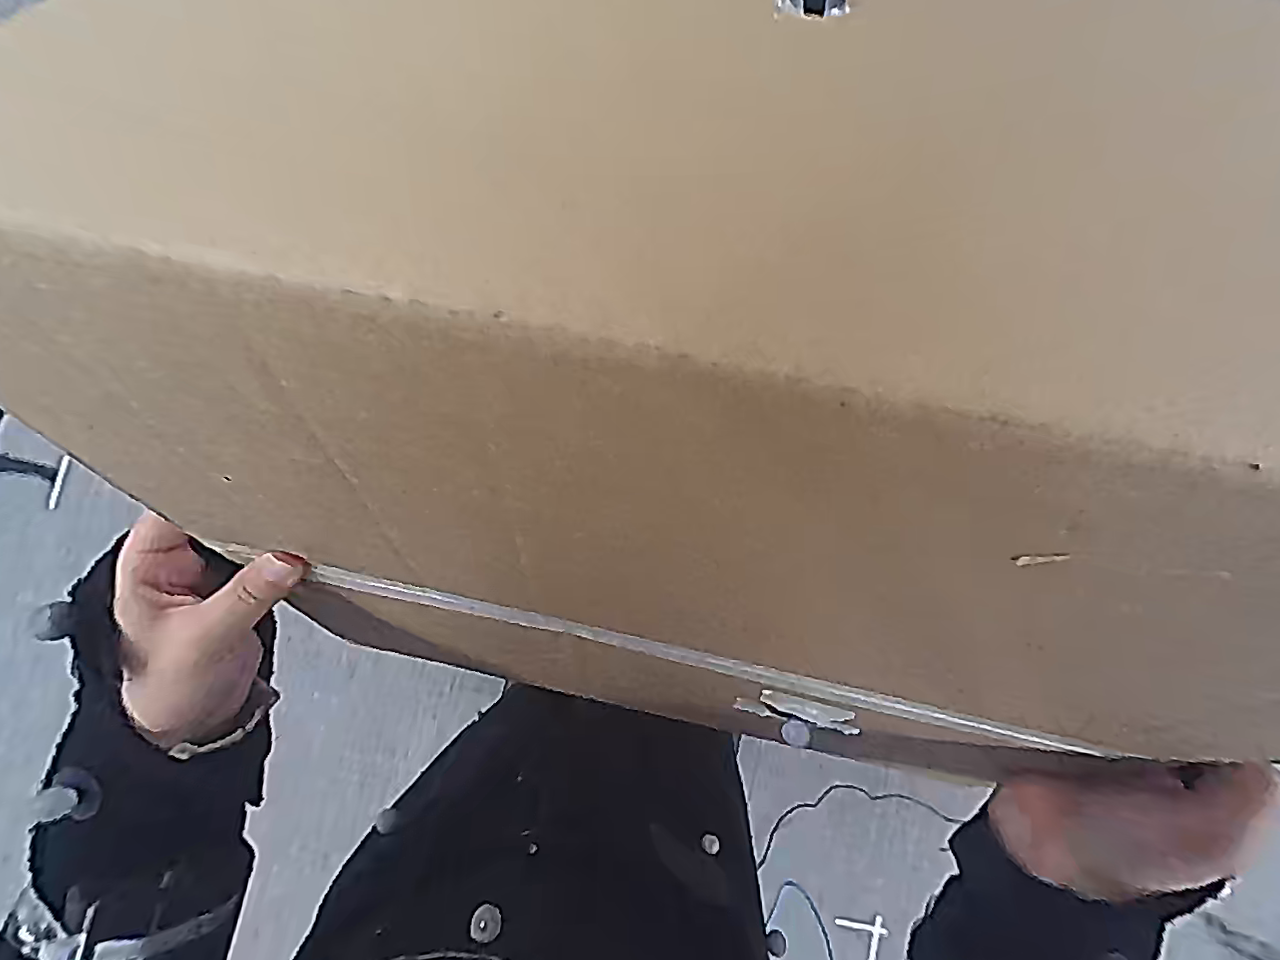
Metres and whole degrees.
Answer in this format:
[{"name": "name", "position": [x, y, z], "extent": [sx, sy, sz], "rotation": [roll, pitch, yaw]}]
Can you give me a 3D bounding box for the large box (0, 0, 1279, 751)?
[{"name": "large box", "position": [0.062, -0.081, 0.292], "extent": [0.408, 0.320, 0.320], "rotation": [12, 58, 3]}]
